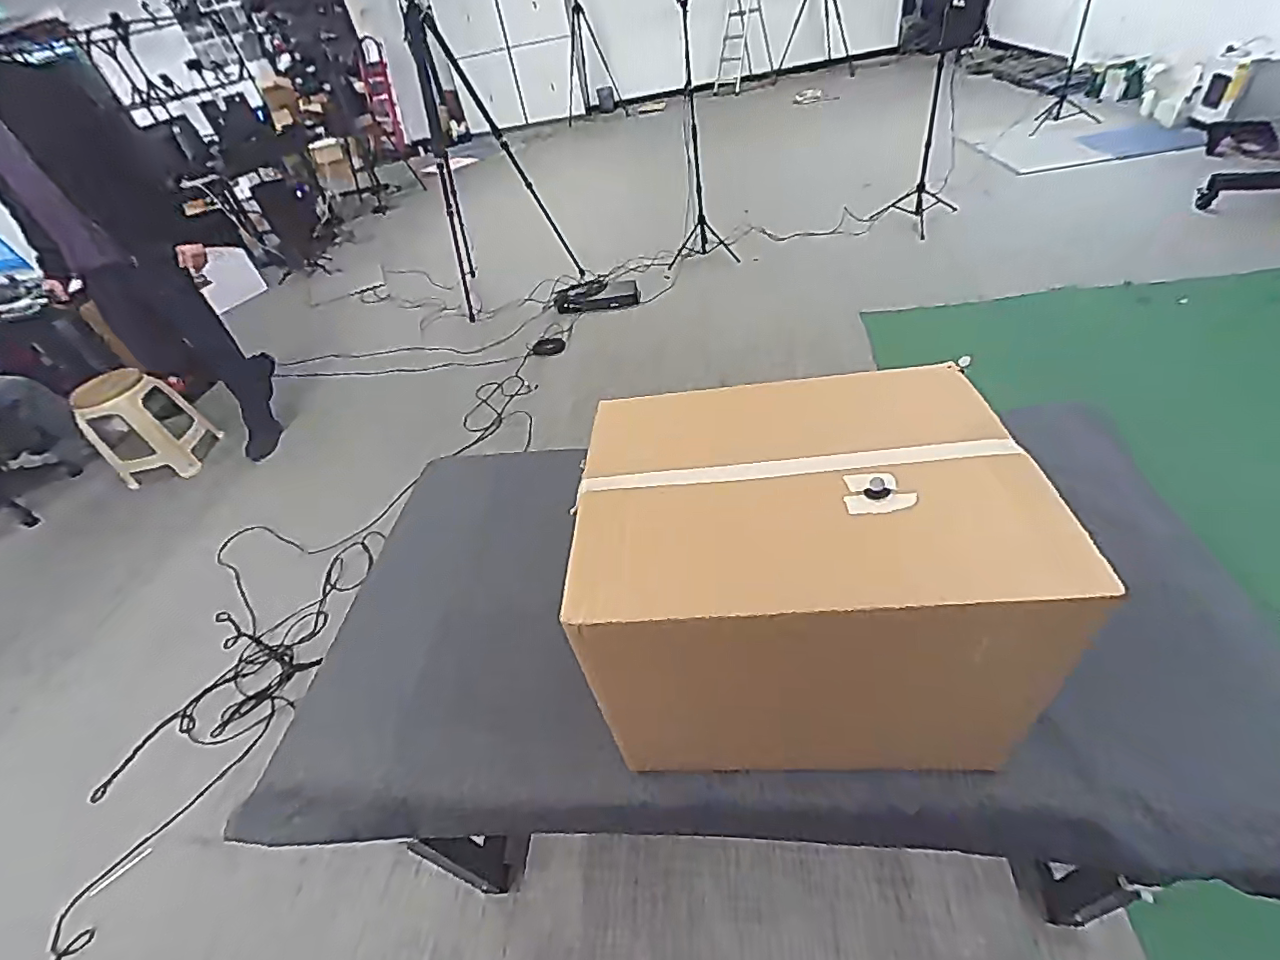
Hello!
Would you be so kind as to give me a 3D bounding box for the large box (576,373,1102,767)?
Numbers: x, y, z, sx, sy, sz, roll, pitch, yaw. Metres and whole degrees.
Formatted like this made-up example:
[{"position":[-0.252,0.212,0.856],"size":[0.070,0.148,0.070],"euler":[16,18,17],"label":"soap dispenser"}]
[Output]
[{"position":[0.166,0.106,0.620],"size":[0.408,0.320,0.320],"euler":[-4,42,7],"label":"large box"}]
